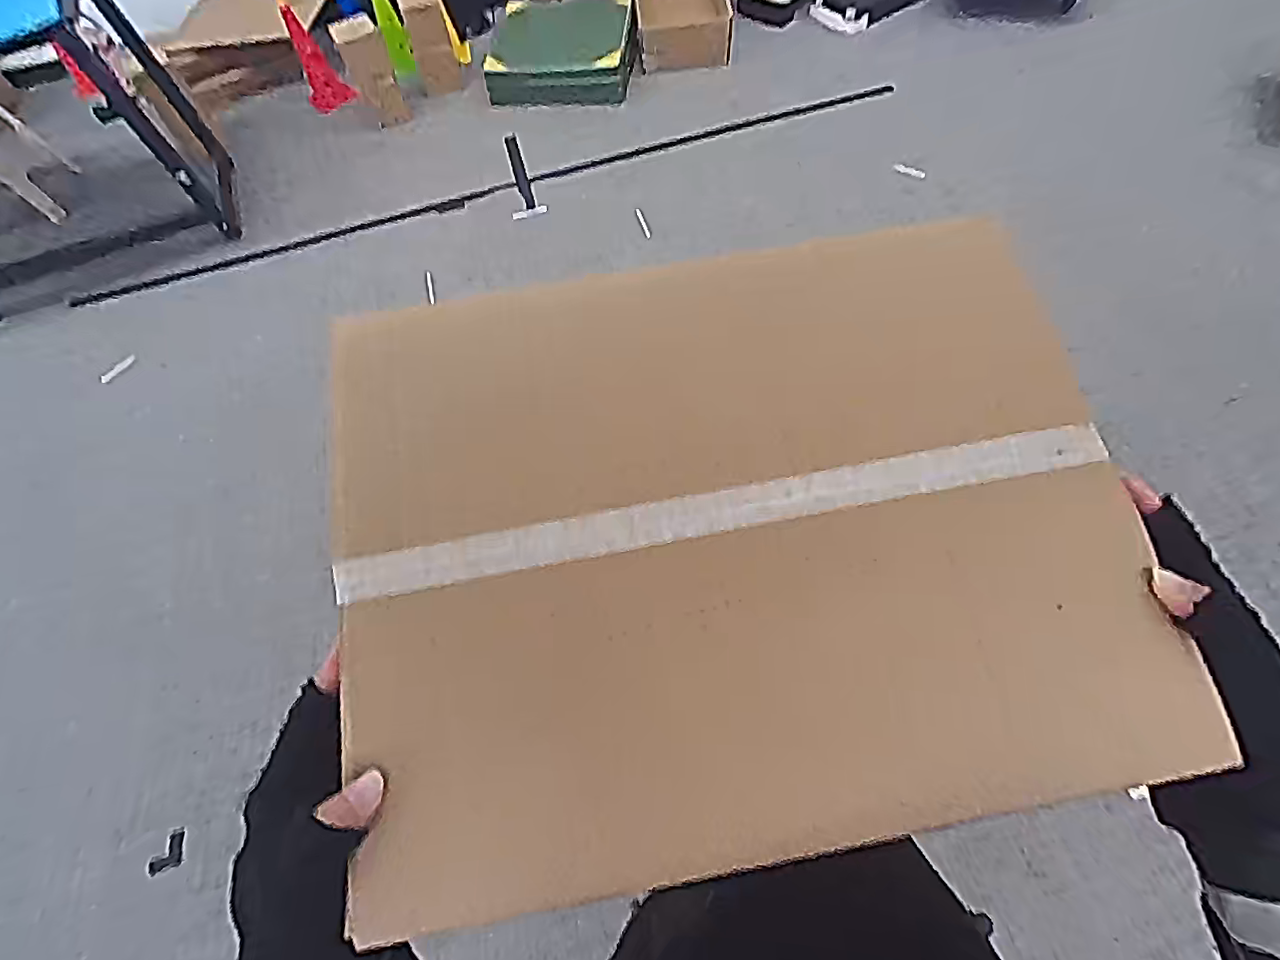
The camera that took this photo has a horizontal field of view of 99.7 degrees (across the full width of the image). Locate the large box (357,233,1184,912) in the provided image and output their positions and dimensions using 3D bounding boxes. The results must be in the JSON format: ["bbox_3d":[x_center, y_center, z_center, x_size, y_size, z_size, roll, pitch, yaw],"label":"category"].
[{"bbox_3d":[0.048,0.063,0.442,0.408,0.320,0.320,-11,74,-2],"label":"large box"}]
